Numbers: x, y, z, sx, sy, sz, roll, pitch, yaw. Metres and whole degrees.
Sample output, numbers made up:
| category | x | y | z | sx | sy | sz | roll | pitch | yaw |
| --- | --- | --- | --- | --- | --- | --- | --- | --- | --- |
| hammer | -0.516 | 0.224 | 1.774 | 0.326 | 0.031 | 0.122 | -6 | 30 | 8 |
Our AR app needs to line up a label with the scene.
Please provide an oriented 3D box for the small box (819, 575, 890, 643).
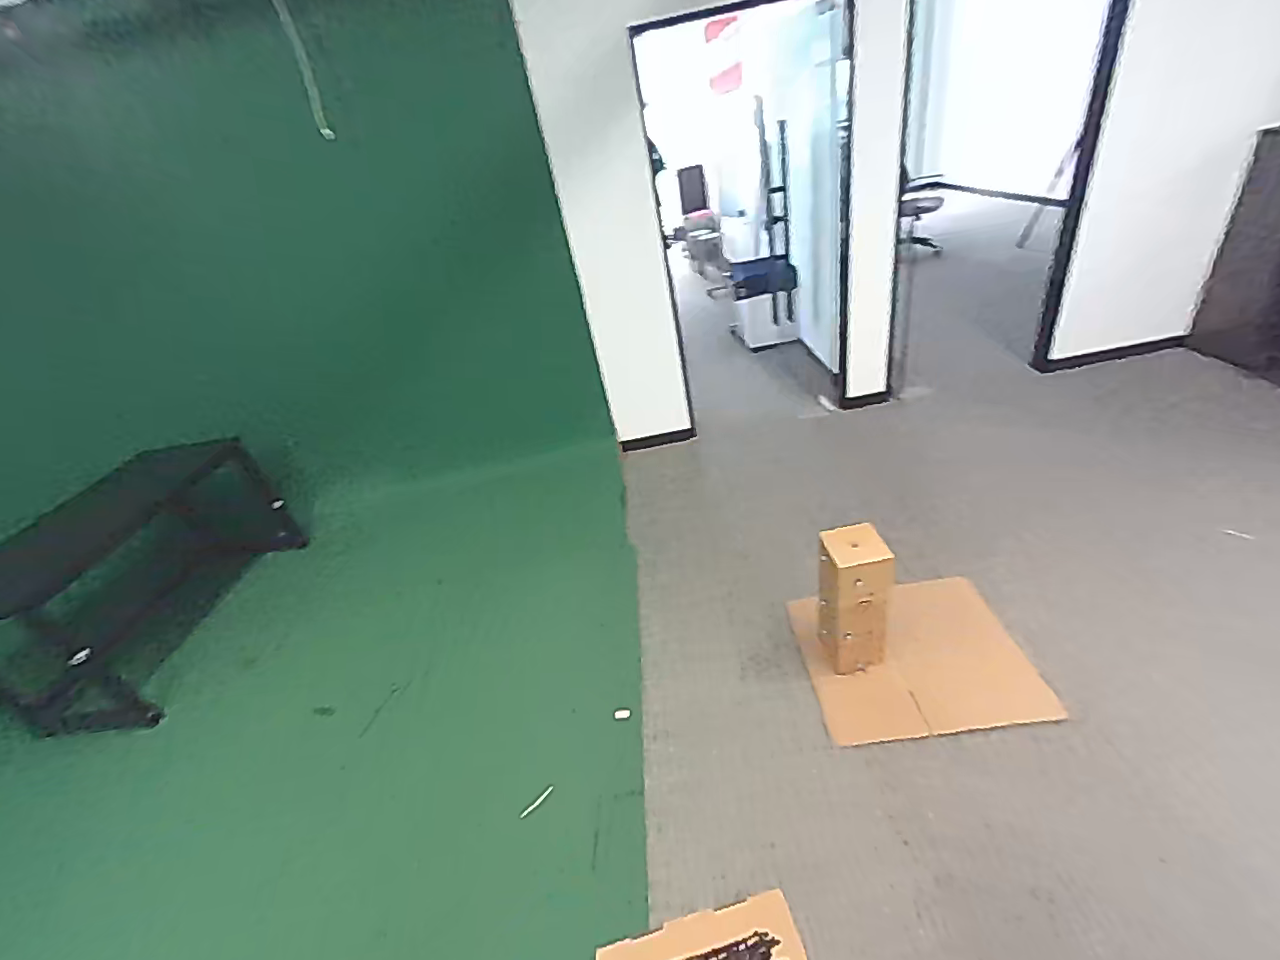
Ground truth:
| category | x | y | z | sx | sy | sz | roll | pitch | yaw |
| --- | --- | --- | --- | --- | --- | --- | --- | --- | --- |
| small box | 0.701 | 0.413 | 1.775 | 0.168 | 0.176 | 0.179 | -12 | 31 | 2 |

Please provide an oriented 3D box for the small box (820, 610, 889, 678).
| category | x | y | z | sx | sy | sz | roll | pitch | yaw |
| --- | --- | --- | --- | --- | --- | --- | --- | --- | --- |
| small box | 0.732 | 0.548 | 1.861 | 0.168 | 0.176 | 0.179 | -14 | 32 | -1 |

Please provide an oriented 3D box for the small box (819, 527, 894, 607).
| category | x | y | z | sx | sy | sz | roll | pitch | yaw |
| --- | --- | --- | --- | --- | --- | --- | --- | --- | --- |
| small box | 0.674 | 0.277 | 1.691 | 0.168 | 0.176 | 0.179 | -12 | 31 | 2 |
